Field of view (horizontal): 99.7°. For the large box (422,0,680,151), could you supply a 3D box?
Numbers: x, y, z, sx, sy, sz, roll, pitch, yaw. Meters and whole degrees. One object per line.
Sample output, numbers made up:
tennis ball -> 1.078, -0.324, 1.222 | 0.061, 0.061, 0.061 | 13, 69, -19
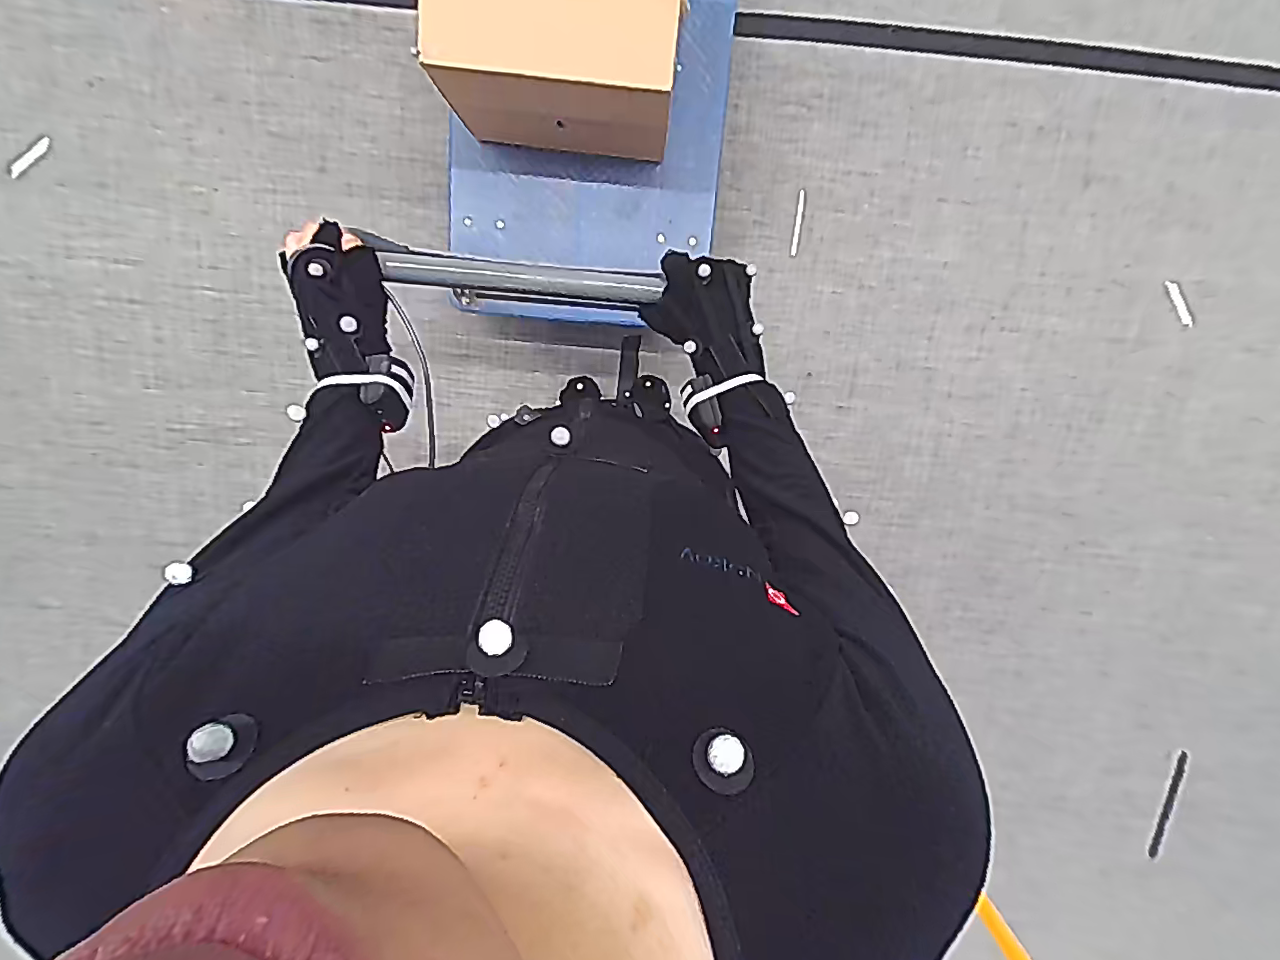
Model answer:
large box -> -0.133, -0.823, 0.970 | 0.408, 0.320, 0.320 | 6, 102, -1

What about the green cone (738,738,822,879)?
green cone -> 0.419, 0.931, 1.506 | 0.202, 0.368, 0.200 | 9, 102, -3
